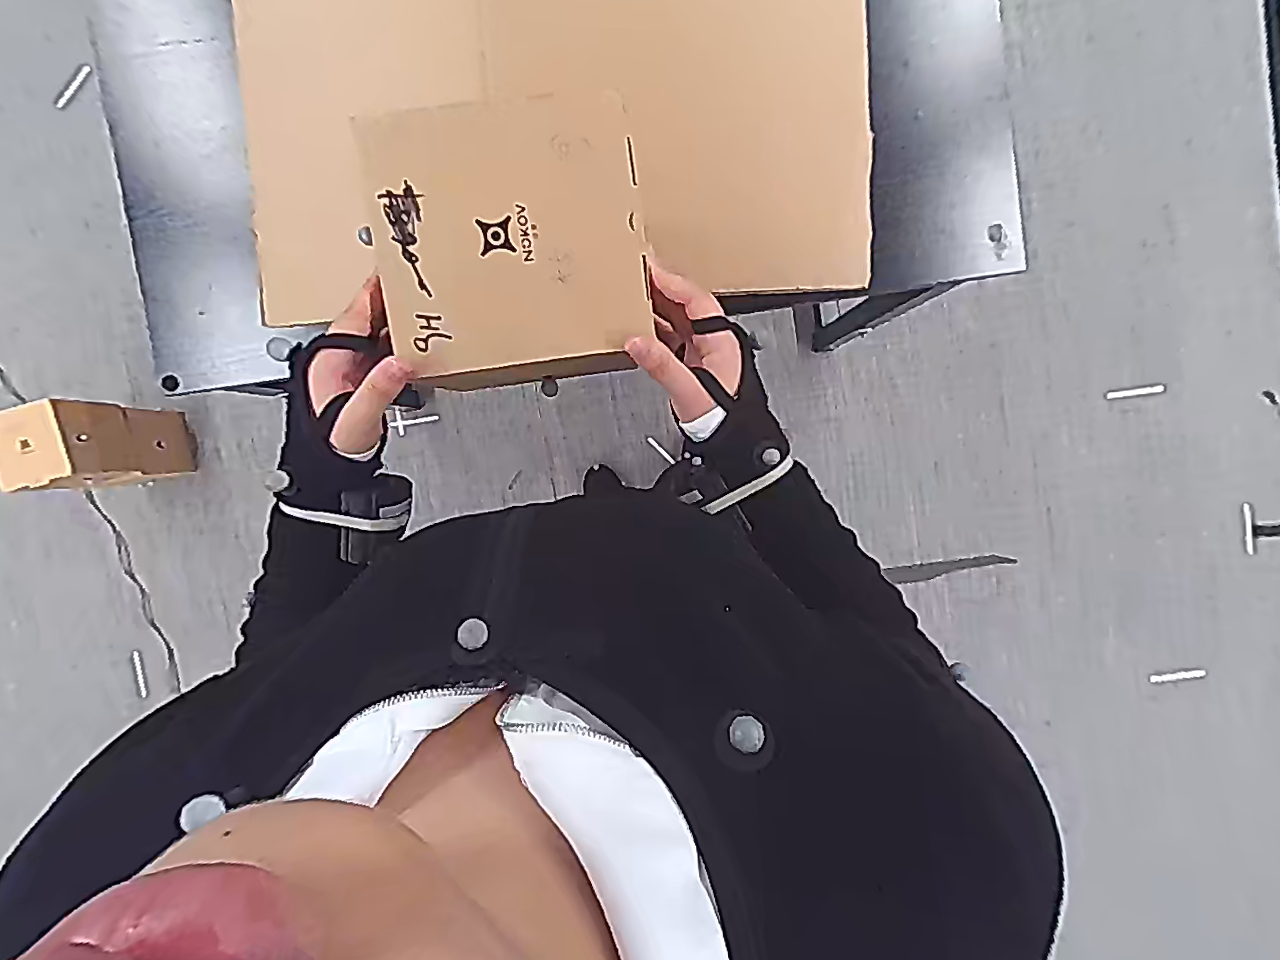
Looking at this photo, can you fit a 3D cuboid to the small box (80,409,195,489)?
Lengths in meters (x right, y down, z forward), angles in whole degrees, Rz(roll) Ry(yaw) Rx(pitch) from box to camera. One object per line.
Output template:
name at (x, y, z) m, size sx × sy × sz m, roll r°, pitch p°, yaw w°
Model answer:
small box at (-1.331, -0.081, 1.420) m, size 0.168 × 0.176 × 0.179 m, roll -12°, pitch 94°, yaw 1°

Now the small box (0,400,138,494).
small box at (-1.334, -0.077, 1.257) m, size 0.168 × 0.176 × 0.179 m, roll -15°, pitch 93°, yaw 1°
